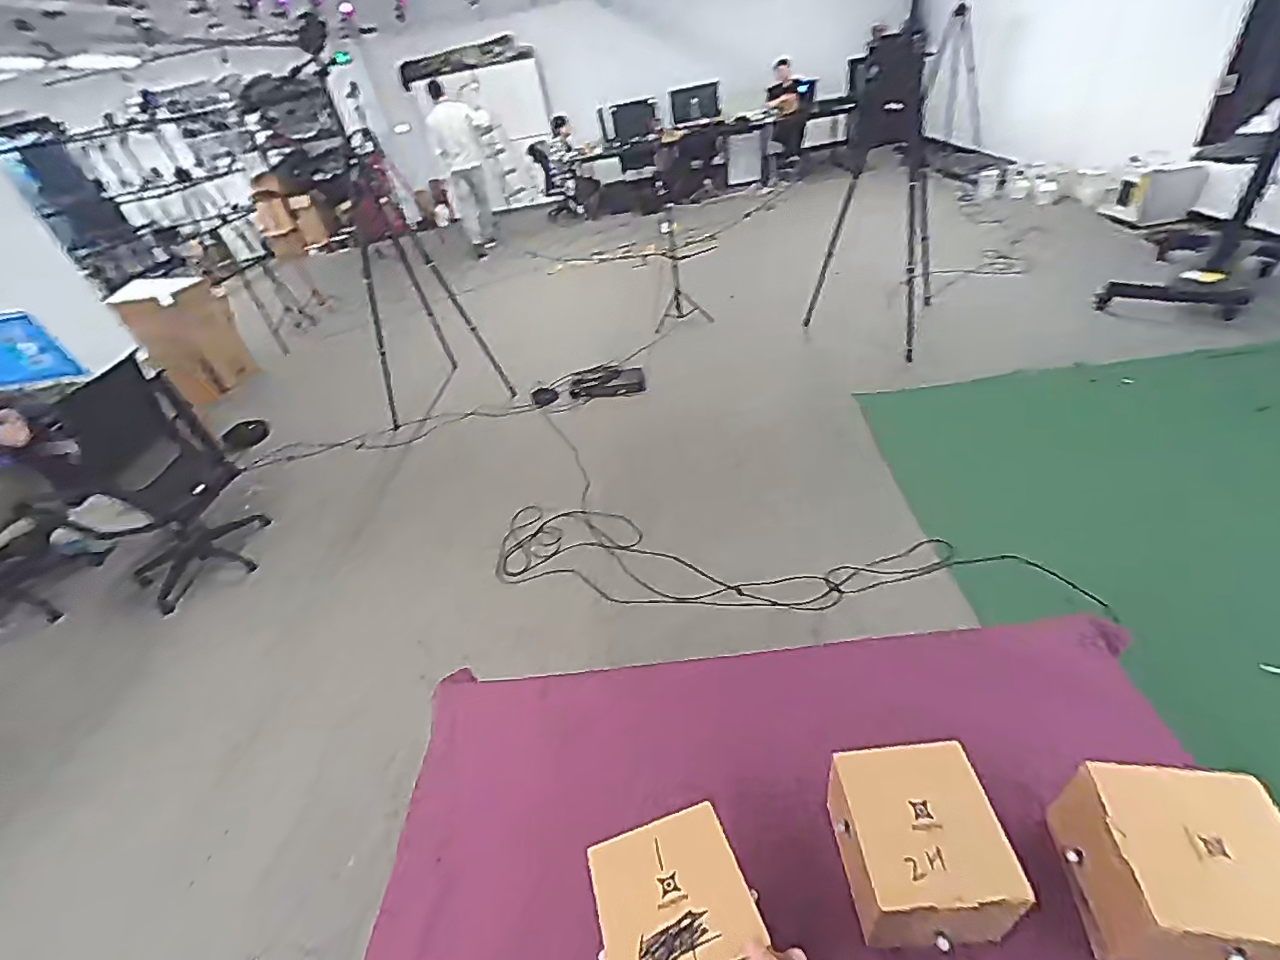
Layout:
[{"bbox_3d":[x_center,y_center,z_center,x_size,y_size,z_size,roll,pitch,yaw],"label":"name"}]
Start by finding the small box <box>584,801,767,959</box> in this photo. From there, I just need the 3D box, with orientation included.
[{"bbox_3d":[0.046,0.528,0.623,0.168,0.176,0.179,-16,22,-10],"label":"small box"}]

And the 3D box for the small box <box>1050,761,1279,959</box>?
[{"bbox_3d":[0.630,0.457,0.634,0.179,0.176,0.168,-3,39,14],"label":"small box"}]

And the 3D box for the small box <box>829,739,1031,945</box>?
[{"bbox_3d":[0.351,0.466,0.699,0.168,0.176,0.179,-9,38,6],"label":"small box"}]
